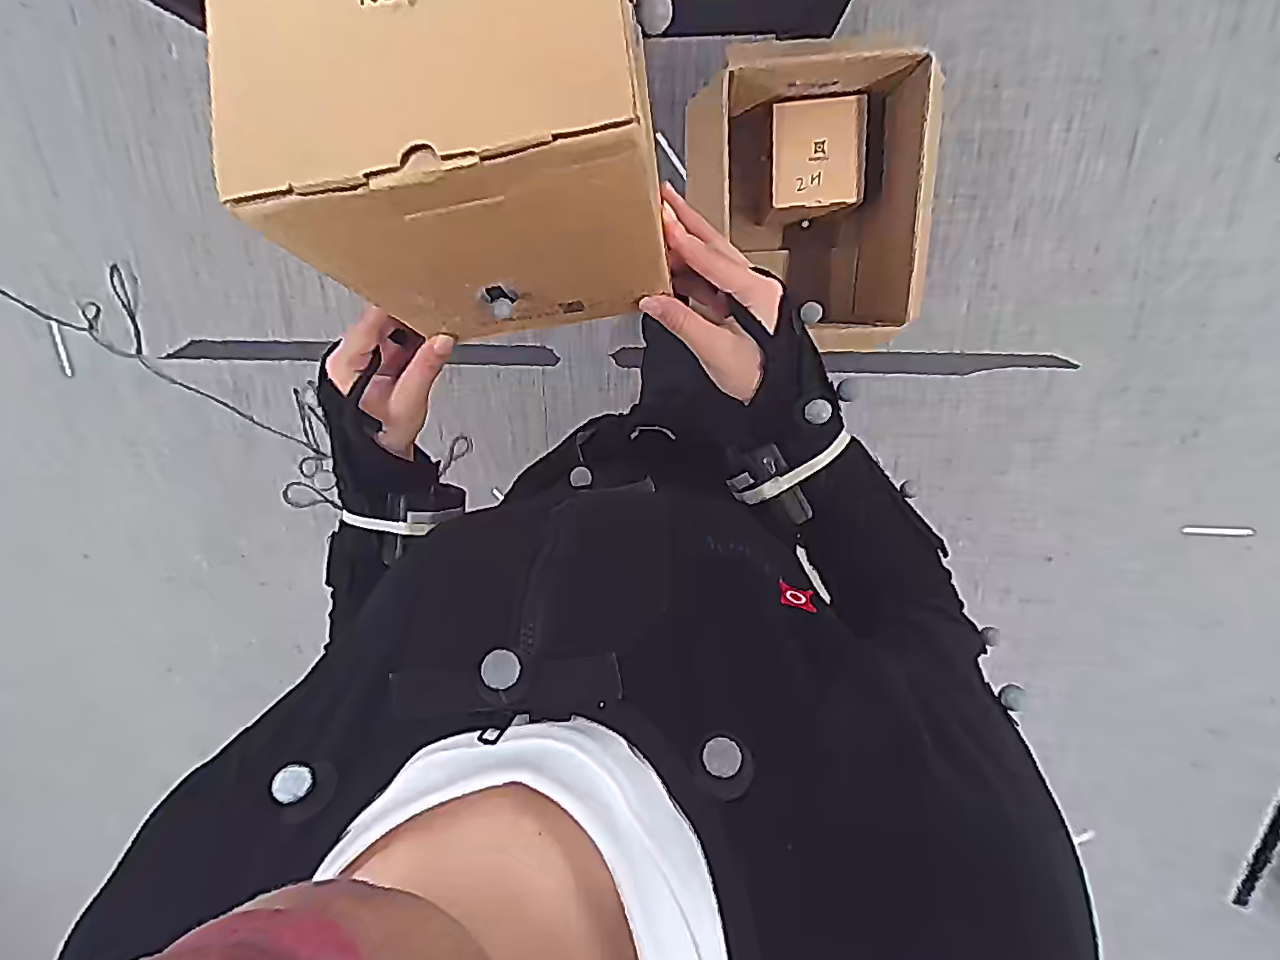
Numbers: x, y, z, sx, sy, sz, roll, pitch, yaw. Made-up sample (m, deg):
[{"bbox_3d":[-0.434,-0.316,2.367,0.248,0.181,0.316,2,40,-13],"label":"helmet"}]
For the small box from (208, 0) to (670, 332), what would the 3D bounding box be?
[{"bbox_3d":[-0.078,-0.199,0.284,0.168,0.176,0.179,-7,86,7],"label":"small box"}]
